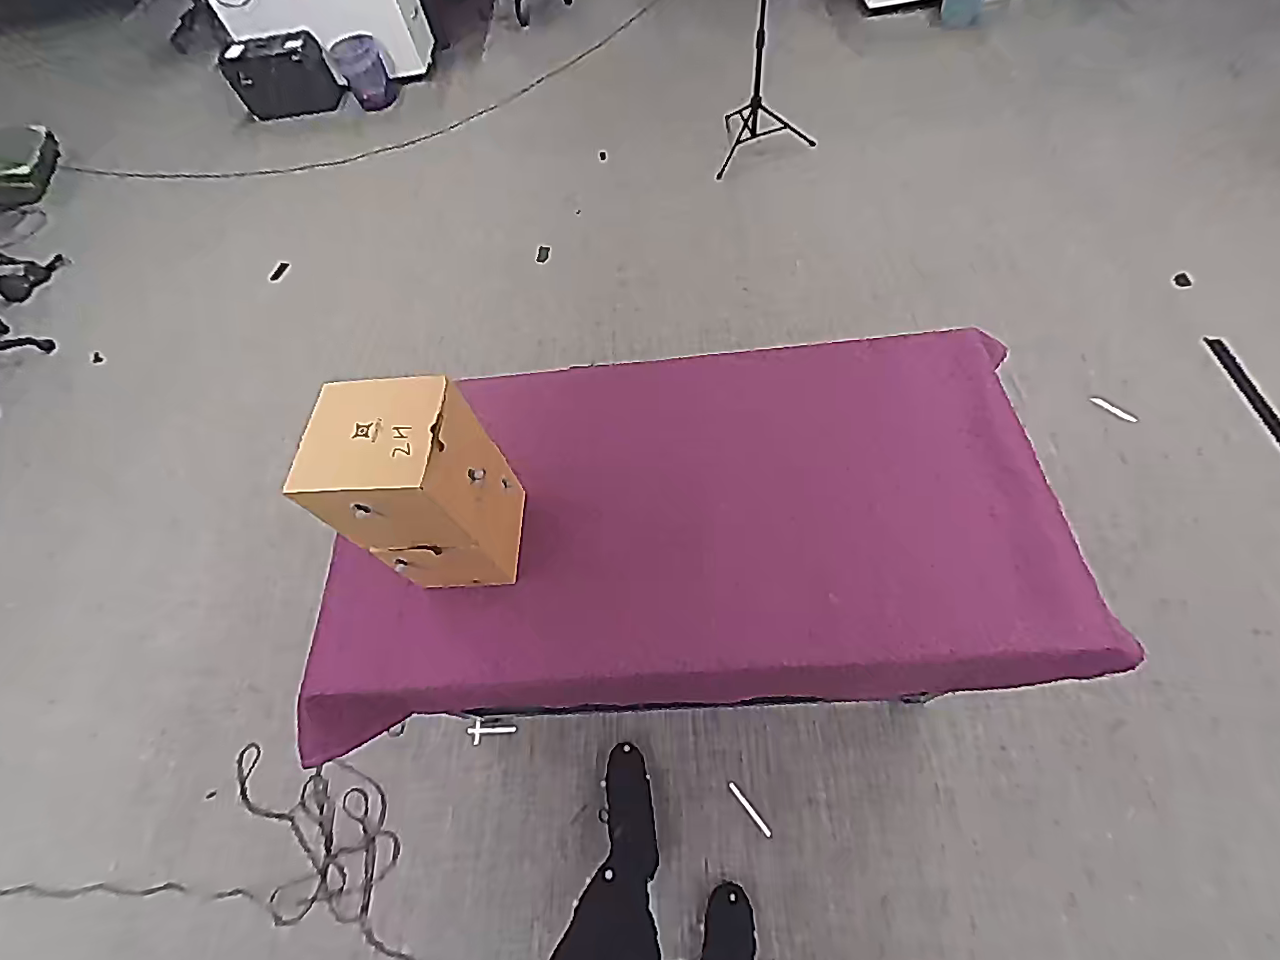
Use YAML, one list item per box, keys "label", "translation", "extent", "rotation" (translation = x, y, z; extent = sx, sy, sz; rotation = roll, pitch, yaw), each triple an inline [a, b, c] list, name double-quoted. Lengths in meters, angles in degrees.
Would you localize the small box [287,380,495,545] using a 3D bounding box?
- label: "small box"
  translation: [-0.320, -0.017, 0.735]
  extent: [0.179, 0.176, 0.168]
  rotation: [-1, 61, 6]
